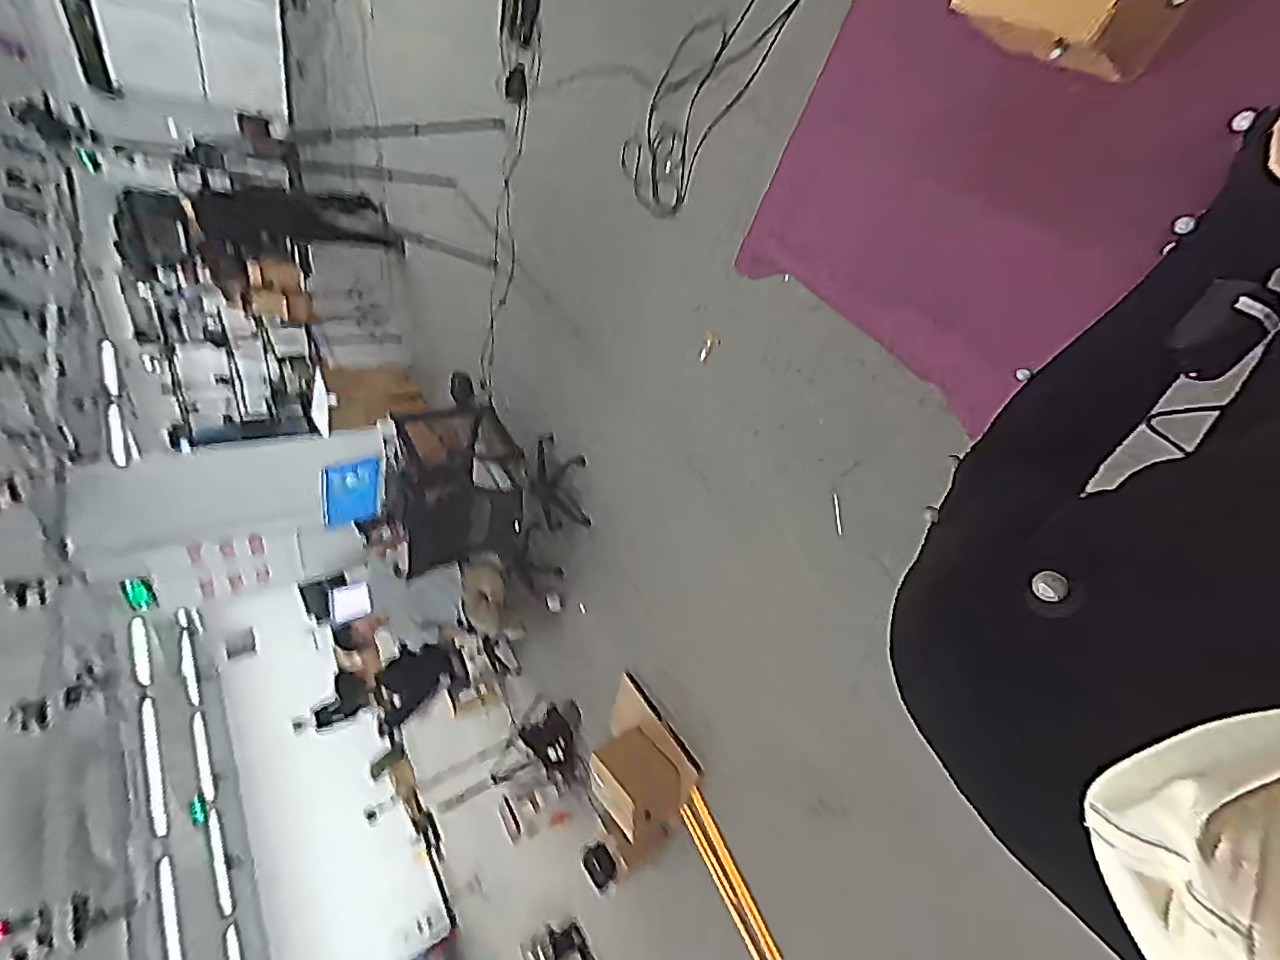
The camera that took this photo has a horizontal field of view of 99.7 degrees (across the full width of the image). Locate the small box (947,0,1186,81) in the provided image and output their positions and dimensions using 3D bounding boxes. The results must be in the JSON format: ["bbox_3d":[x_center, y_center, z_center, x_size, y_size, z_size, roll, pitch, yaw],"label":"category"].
[{"bbox_3d":[0.495,-0.573,0.595,0.179,0.176,0.168,49,135,30],"label":"small box"}]
